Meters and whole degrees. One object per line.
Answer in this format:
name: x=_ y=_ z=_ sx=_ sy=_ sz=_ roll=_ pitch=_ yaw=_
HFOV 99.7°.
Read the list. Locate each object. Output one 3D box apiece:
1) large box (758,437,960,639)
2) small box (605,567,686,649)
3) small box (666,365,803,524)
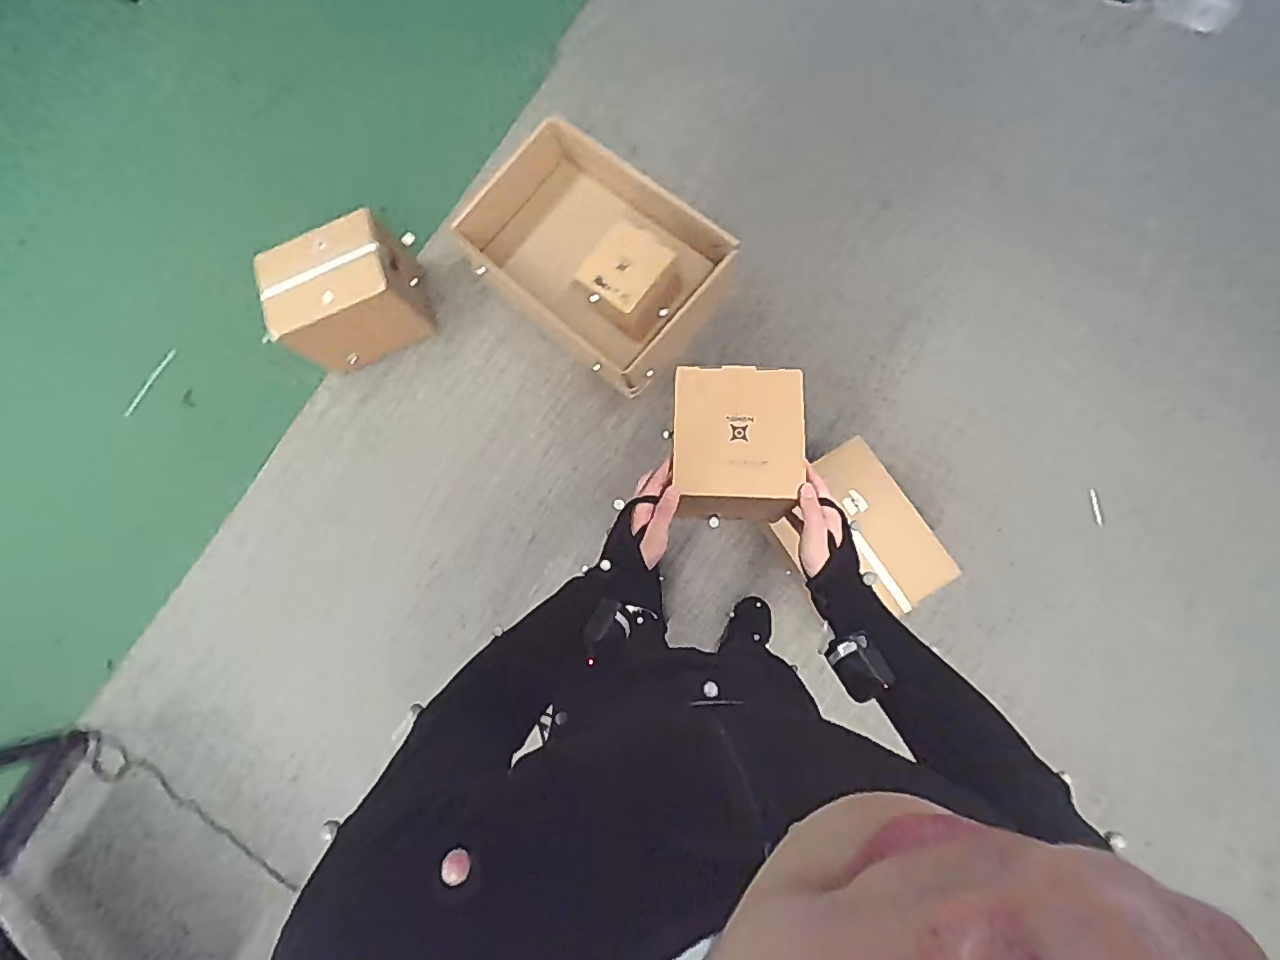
large box: x=0.540 y=0.159 z=1.446 sx=0.320 sy=0.320 sz=0.408 roll=-32 pitch=76 yaw=2
small box: x=0.014 y=0.371 z=1.570 sx=0.179 sy=0.176 sz=0.168 roll=35 pitch=84 yaw=18
small box: x=0.122 y=-0.042 z=0.757 sx=0.168 sy=0.176 sz=0.179 roll=2 pitch=76 yaw=2
